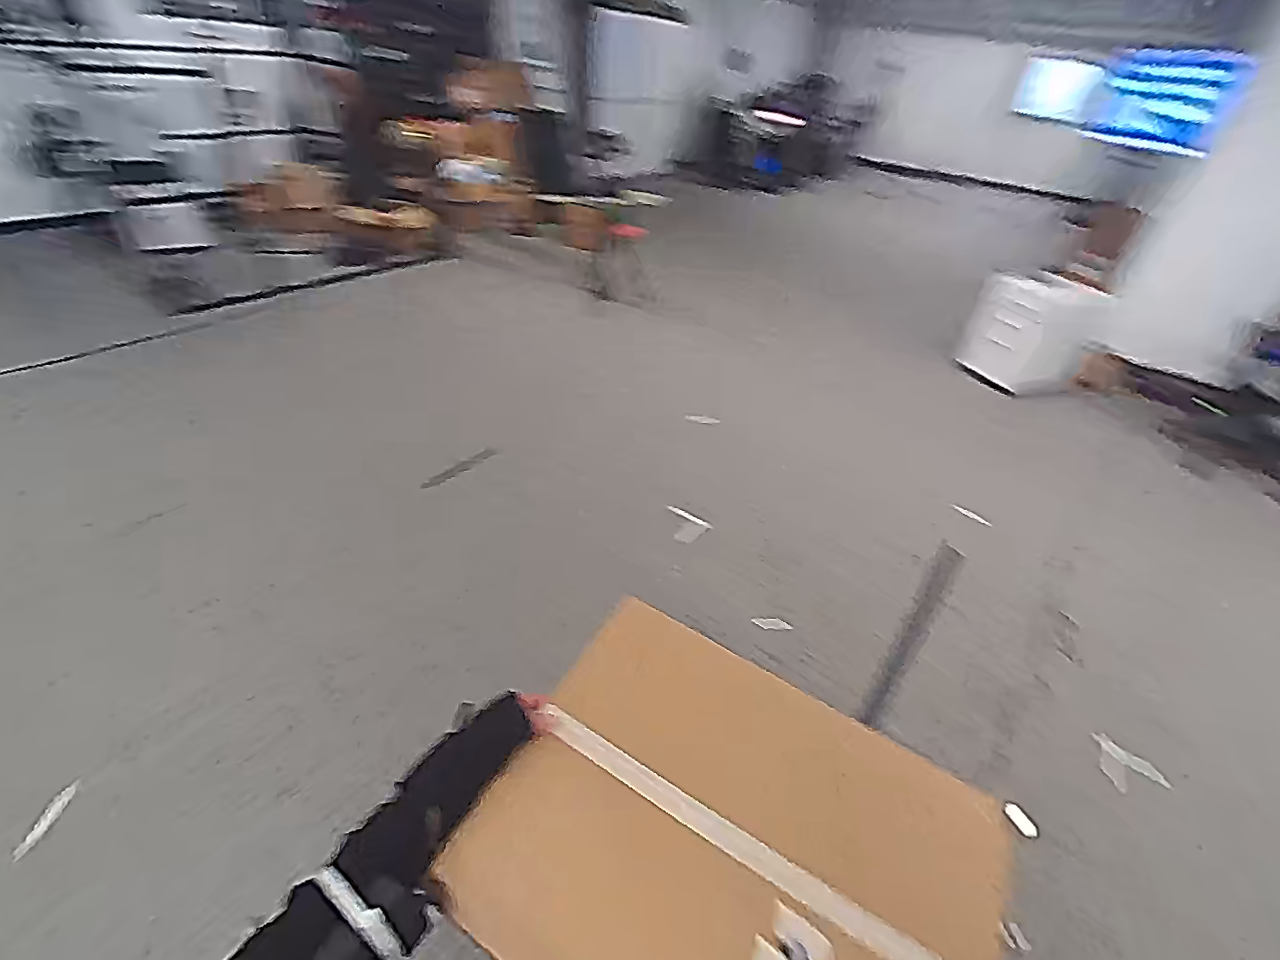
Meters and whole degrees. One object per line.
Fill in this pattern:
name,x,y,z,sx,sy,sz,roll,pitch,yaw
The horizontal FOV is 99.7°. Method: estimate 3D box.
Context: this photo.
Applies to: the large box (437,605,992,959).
large box,0.067,0.412,0.567,0.408,0.320,0.320,26,48,18
